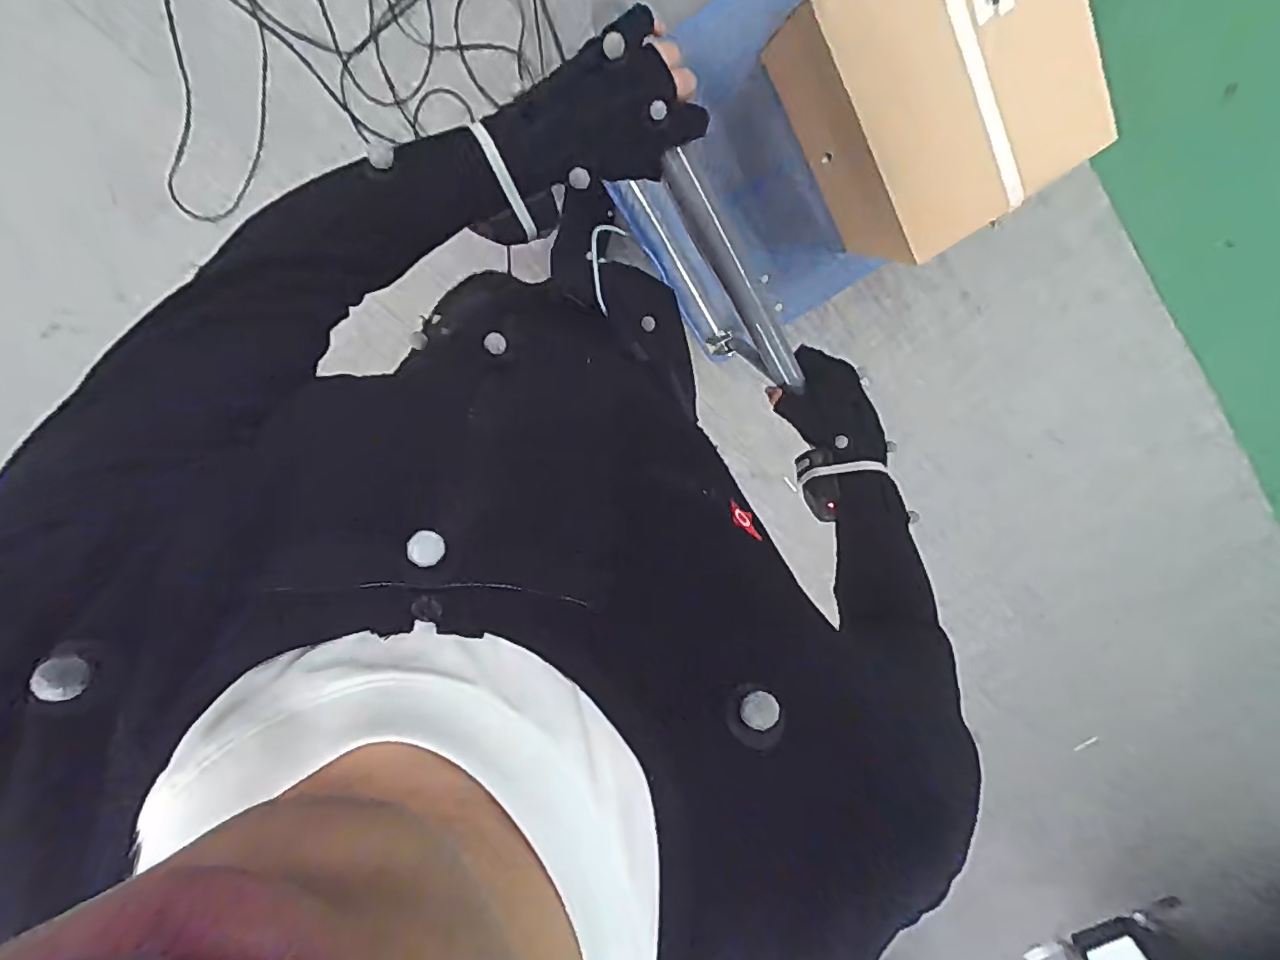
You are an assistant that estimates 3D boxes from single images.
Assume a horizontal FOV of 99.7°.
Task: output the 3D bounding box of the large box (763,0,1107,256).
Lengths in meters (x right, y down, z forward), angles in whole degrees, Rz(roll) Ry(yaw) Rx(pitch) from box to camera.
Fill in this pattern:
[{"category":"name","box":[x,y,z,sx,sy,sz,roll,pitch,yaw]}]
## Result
[{"category":"large box","box":[0.455,-0.647,0.894,0.320,0.320,0.408,-31,113,13]}]
